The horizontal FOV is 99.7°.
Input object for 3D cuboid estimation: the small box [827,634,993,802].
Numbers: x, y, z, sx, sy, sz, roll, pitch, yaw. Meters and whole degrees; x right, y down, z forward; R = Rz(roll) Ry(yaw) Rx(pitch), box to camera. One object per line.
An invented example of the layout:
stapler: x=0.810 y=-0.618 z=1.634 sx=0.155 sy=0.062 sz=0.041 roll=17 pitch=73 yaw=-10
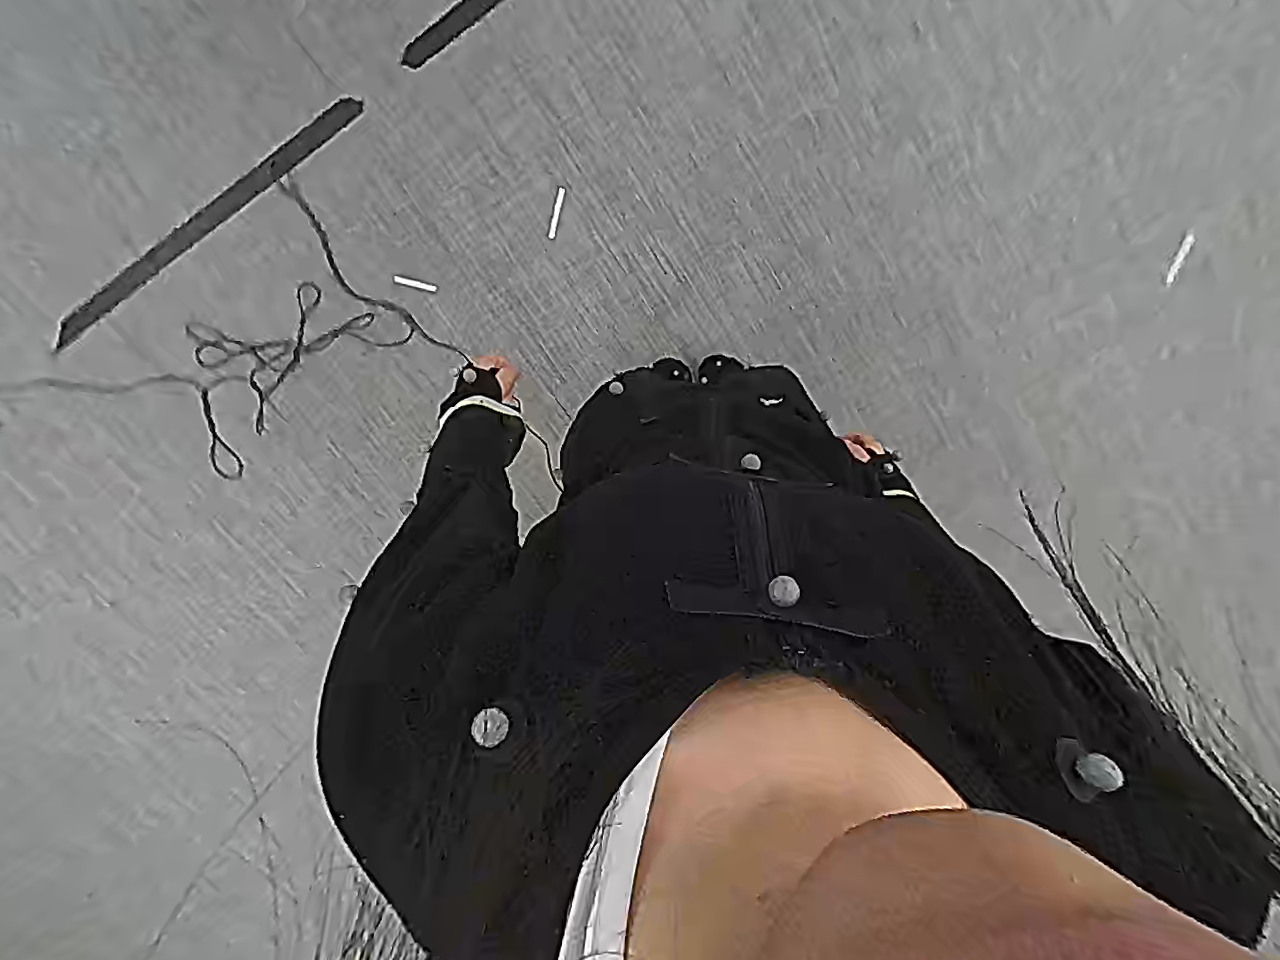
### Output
small box: x=0.445 y=0.389 z=0.920 sx=0.168 sy=0.176 sz=0.179 roll=-28 pitch=104 yaw=7
